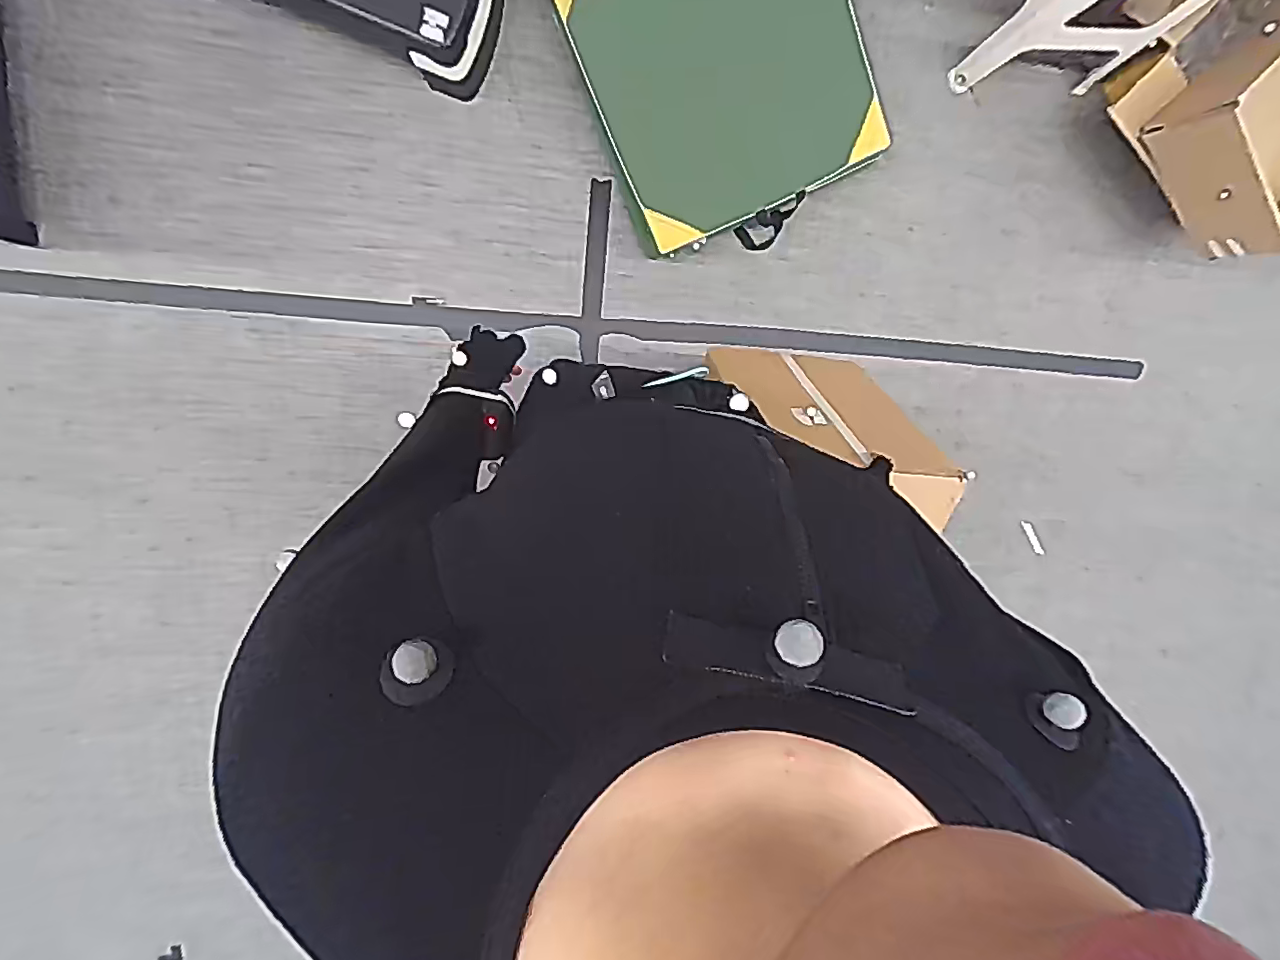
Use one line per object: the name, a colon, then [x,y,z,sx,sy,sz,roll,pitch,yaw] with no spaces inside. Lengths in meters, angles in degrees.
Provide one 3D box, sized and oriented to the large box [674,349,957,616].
large box: [0.268,-0.006,1.002,0.320,0.408,0.320,3,126,-10]
